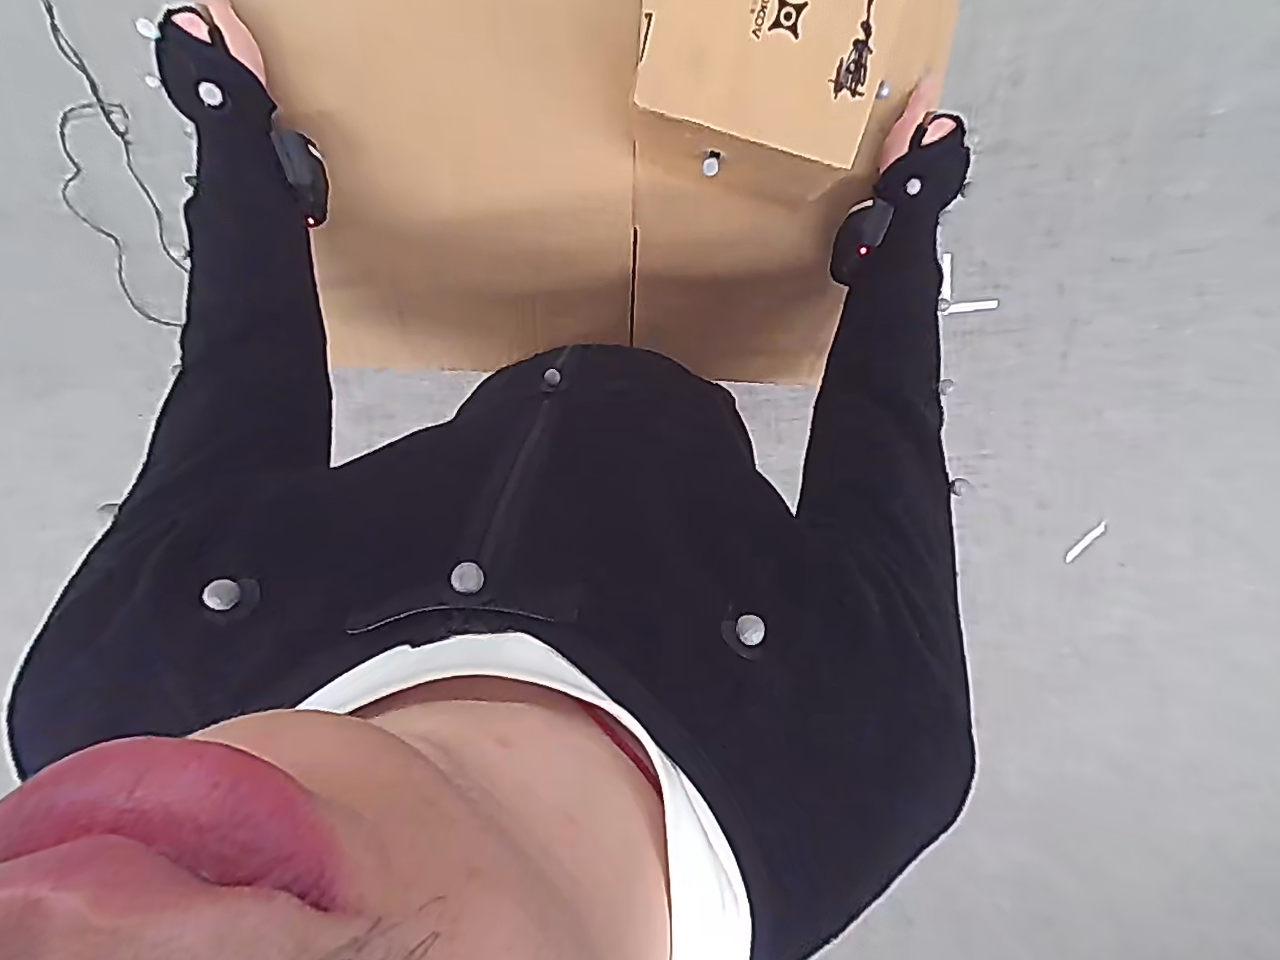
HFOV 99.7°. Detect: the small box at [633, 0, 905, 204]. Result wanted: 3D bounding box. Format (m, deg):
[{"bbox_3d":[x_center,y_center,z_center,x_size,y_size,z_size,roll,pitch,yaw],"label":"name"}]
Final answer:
[{"bbox_3d":[0.104,-0.360,0.470,0.179,0.176,0.168,16,107,-1],"label":"small box"}]
